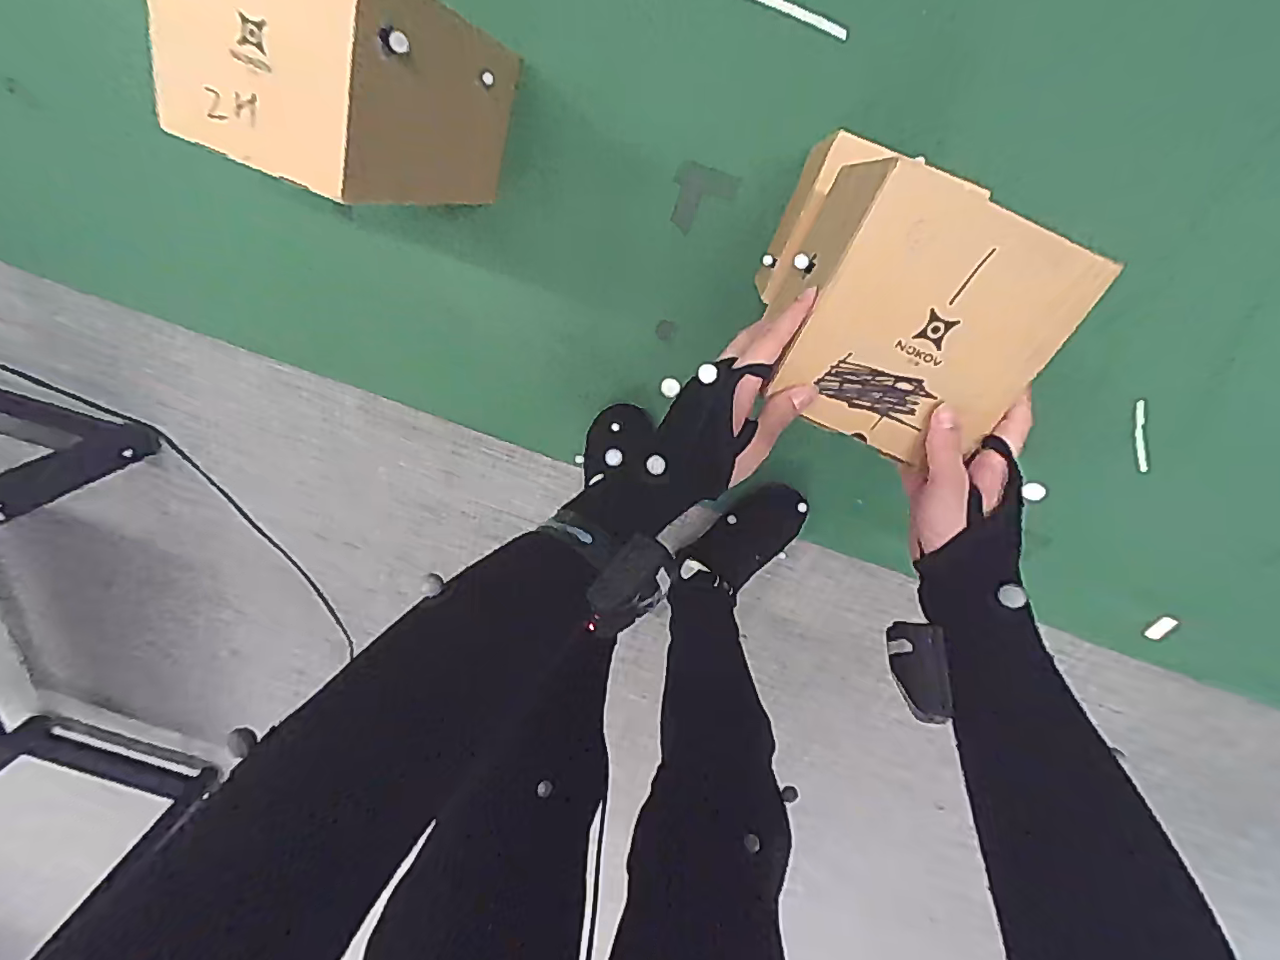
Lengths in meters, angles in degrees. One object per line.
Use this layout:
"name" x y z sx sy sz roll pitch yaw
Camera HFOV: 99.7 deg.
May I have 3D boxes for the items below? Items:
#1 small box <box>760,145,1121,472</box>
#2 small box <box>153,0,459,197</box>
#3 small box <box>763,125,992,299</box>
"small box" 0.211 -0.142 0.446 0.168 0.176 0.179 23 118 -5
"small box" -0.283 -0.377 0.486 0.168 0.176 0.179 22 118 -2
"small box" 0.254 -0.283 0.636 0.168 0.176 0.179 21 119 -2
